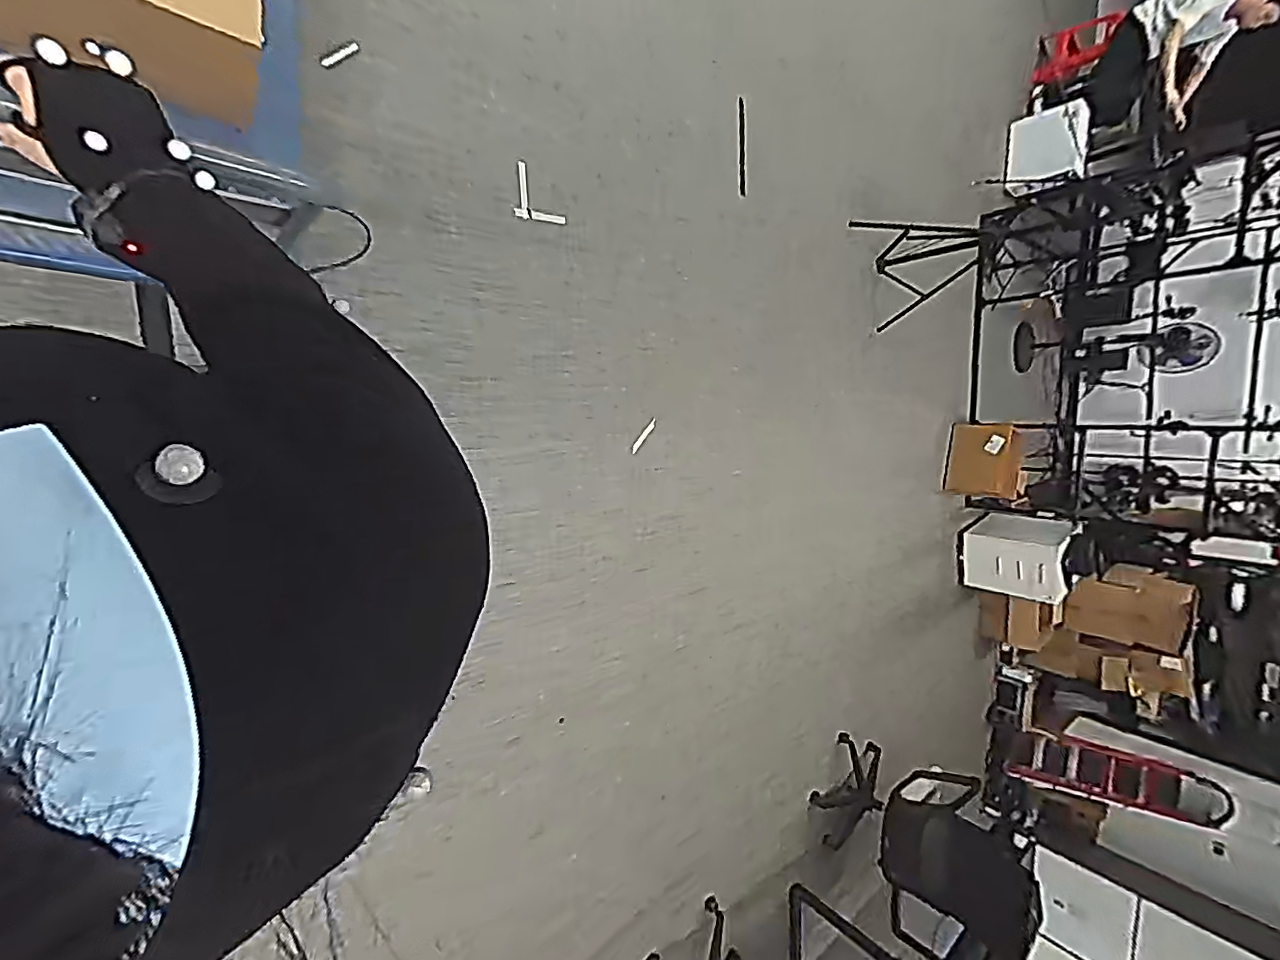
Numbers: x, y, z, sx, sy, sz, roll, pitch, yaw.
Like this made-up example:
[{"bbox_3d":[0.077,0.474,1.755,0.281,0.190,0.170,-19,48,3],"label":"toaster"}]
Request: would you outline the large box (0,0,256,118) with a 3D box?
[{"bbox_3d":[-0.830,-0.829,0.805,0.408,0.320,0.320,-1,95,-38],"label":"large box"}]
